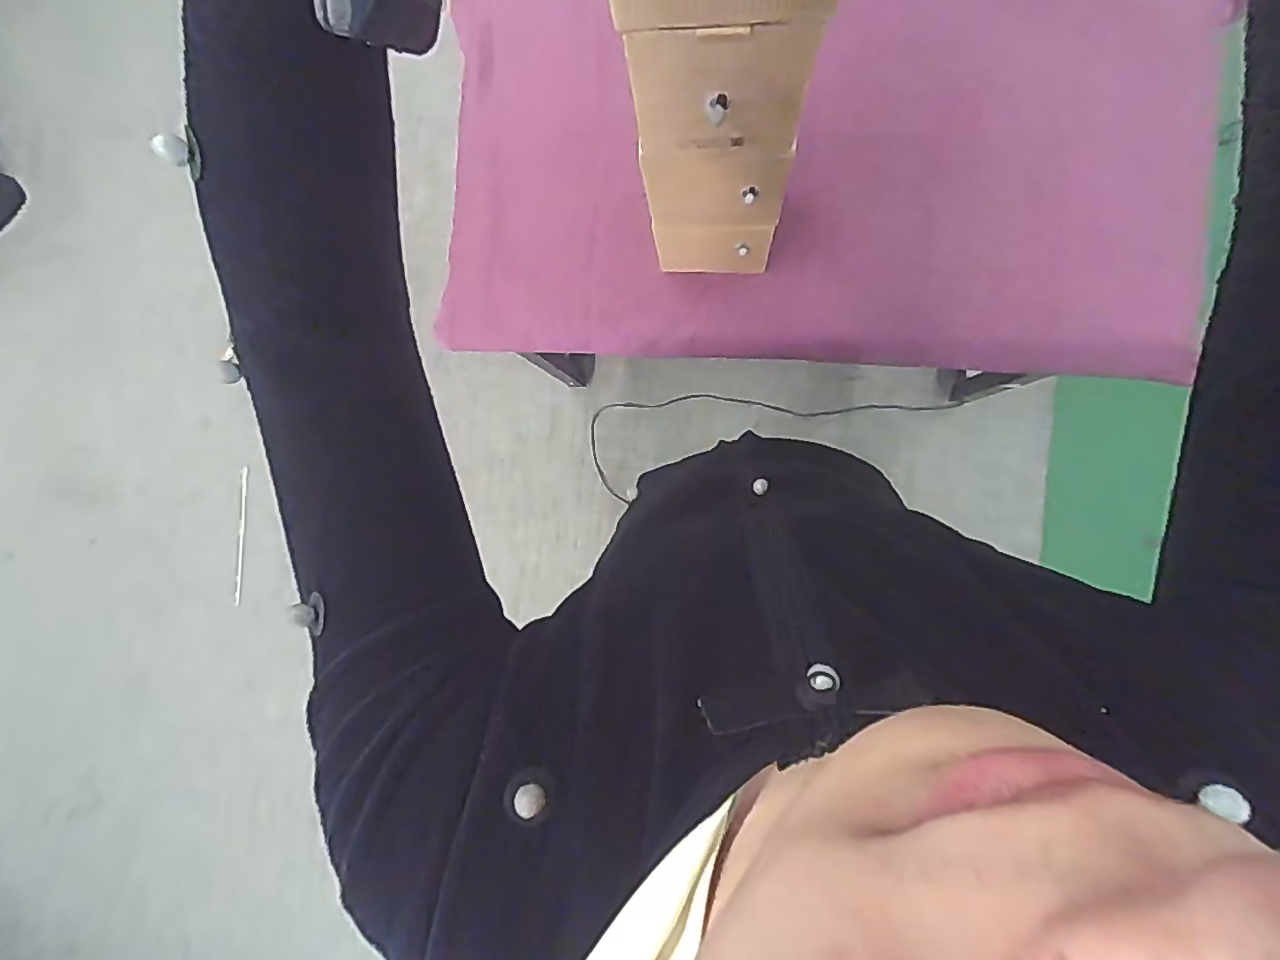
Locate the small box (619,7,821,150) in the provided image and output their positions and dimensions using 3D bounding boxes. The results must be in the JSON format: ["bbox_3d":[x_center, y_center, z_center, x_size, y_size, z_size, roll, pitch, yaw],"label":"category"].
[{"bbox_3d":[0.078,-0.444,0.515,0.168,0.176,0.179,3,89,7],"label":"small box"}]

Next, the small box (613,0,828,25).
[{"bbox_3d":[0.058,-0.444,0.352,0.179,0.176,0.168,3,89,7],"label":"small box"}]

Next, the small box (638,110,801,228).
[{"bbox_3d":[0.100,-0.435,0.676,0.179,0.176,0.168,4,89,8],"label":"small box"}]
